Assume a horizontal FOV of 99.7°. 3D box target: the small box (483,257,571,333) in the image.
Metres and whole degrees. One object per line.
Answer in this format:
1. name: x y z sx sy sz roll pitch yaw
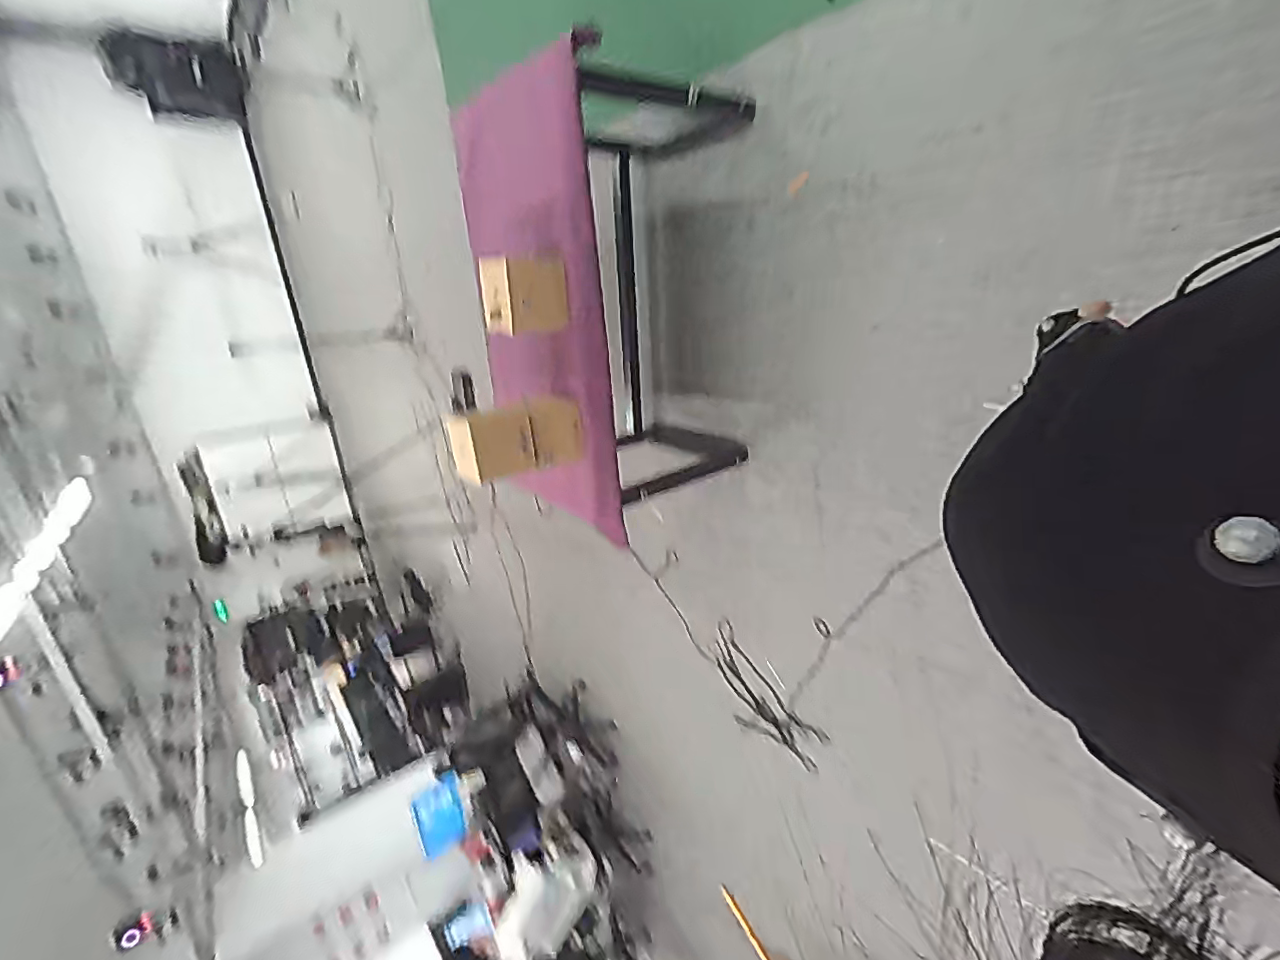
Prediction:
1. small box: -0.295 -0.496 1.436 0.168 0.176 0.179 24 123 47

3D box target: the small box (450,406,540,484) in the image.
1. small box: -0.389 -0.101 1.458 0.179 0.176 0.168 16 118 50
